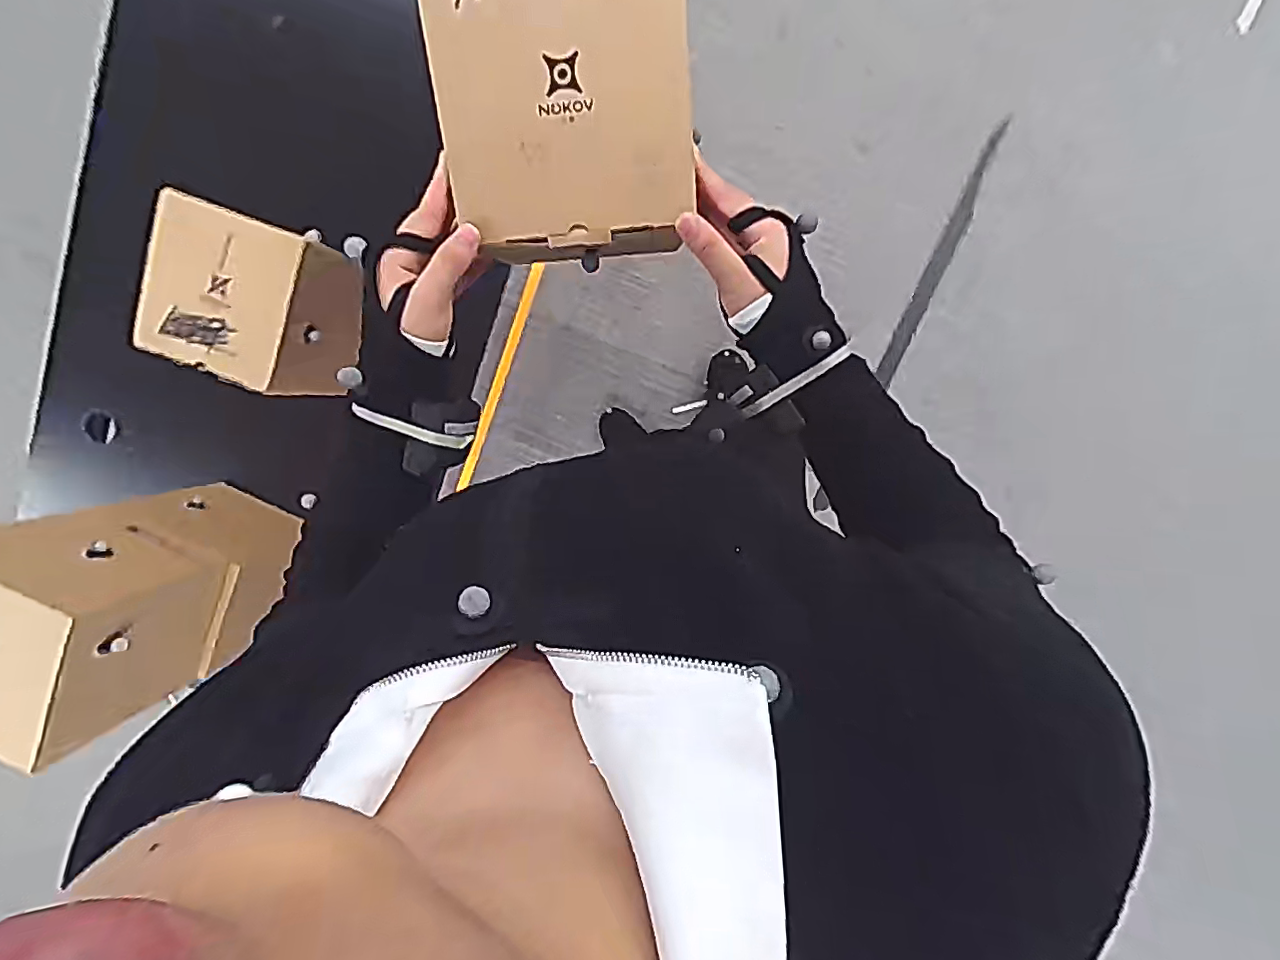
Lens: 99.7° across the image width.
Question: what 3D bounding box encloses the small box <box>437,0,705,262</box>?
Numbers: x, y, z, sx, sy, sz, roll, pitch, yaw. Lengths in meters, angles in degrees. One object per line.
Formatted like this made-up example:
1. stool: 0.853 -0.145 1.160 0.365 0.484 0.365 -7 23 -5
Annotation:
1. small box: -0.039 -0.269 0.424 0.168 0.176 0.179 -4 109 1

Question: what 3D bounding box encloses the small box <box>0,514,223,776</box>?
1. small box: -0.593 0.155 0.570 0.168 0.176 0.179 24 101 1

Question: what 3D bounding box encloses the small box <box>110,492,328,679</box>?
1. small box: -0.573 0.127 0.732 0.179 0.176 0.168 24 101 -1

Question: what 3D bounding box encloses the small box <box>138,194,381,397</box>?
1. small box: -0.453 -0.211 0.669 0.168 0.176 0.179 20 99 1
